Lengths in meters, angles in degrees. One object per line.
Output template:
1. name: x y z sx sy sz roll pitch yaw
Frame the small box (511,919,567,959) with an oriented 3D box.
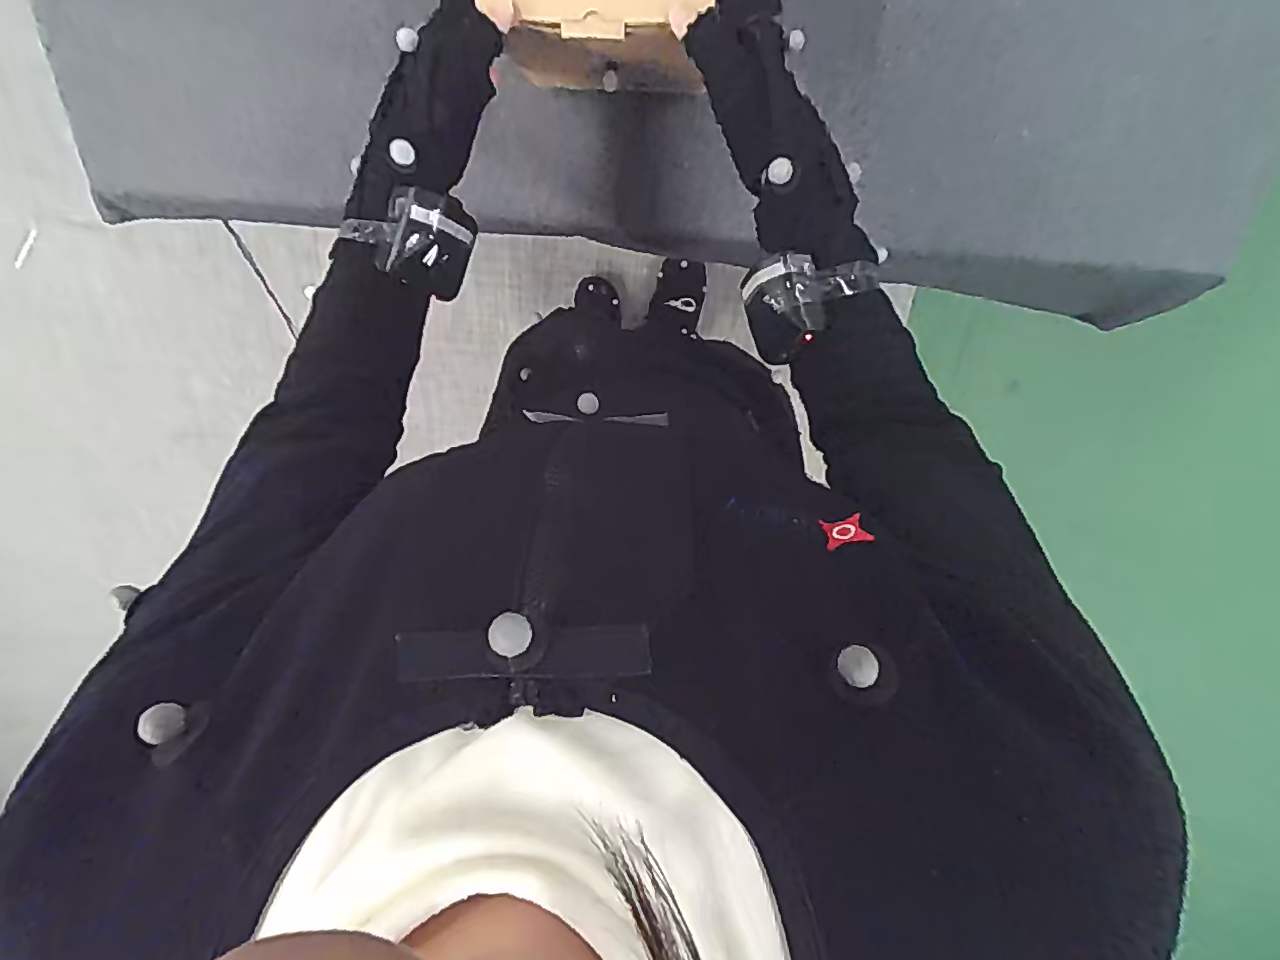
1. small box: -0.365 1.723 1.941 0.179 0.176 0.168 6 114 6

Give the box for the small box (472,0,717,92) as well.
1. small box: -0.022 -0.416 0.409 0.168 0.176 0.179 5 114 5
